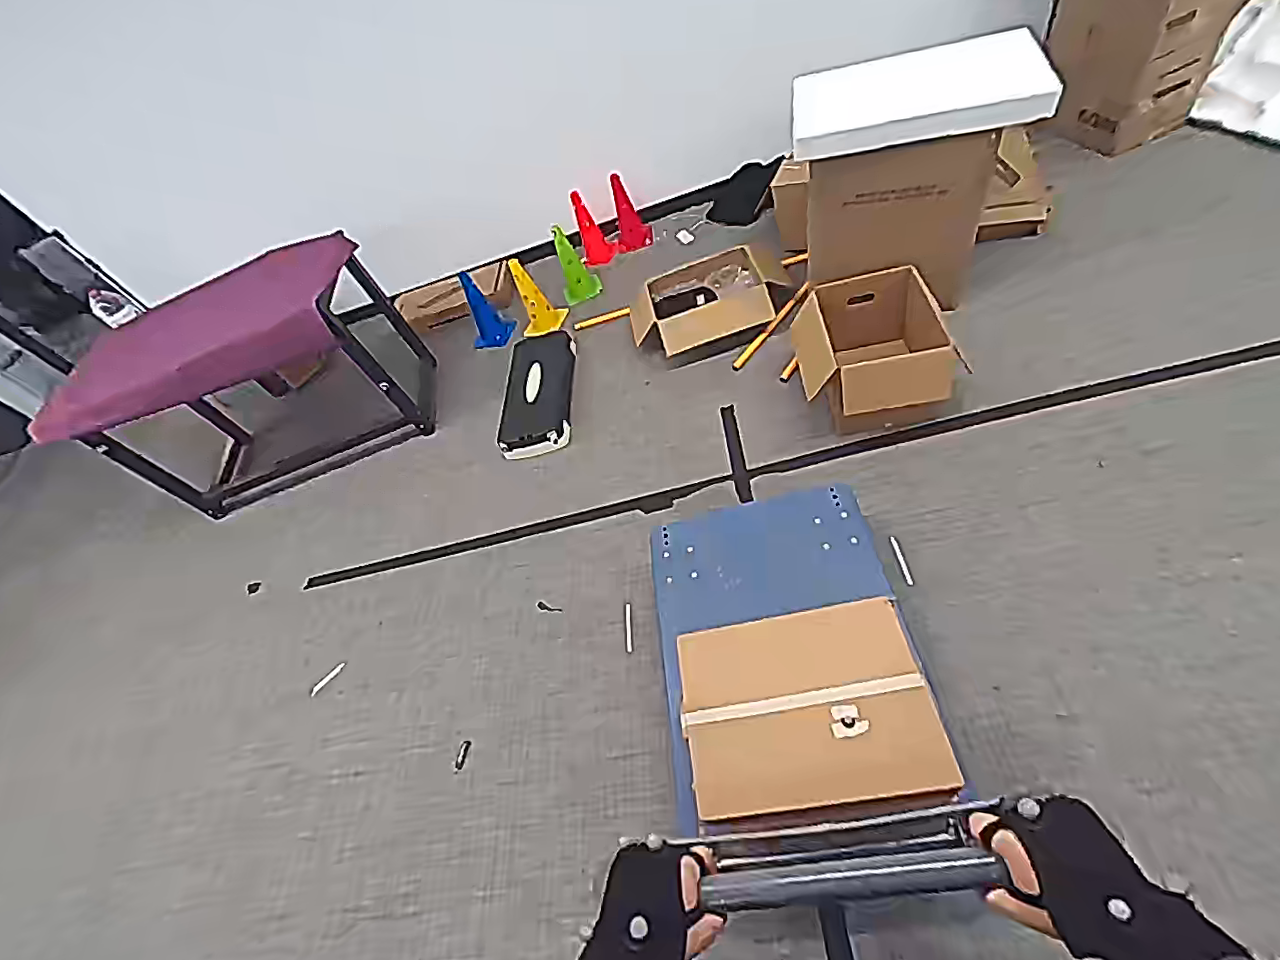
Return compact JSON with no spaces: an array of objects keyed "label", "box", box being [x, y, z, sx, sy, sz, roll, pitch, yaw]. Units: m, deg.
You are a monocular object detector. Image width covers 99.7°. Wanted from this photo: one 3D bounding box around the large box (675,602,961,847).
[{"label":"large box","box":[0.308,0.474,1.024,0.408,0.320,0.320,-14,51,9]}]
